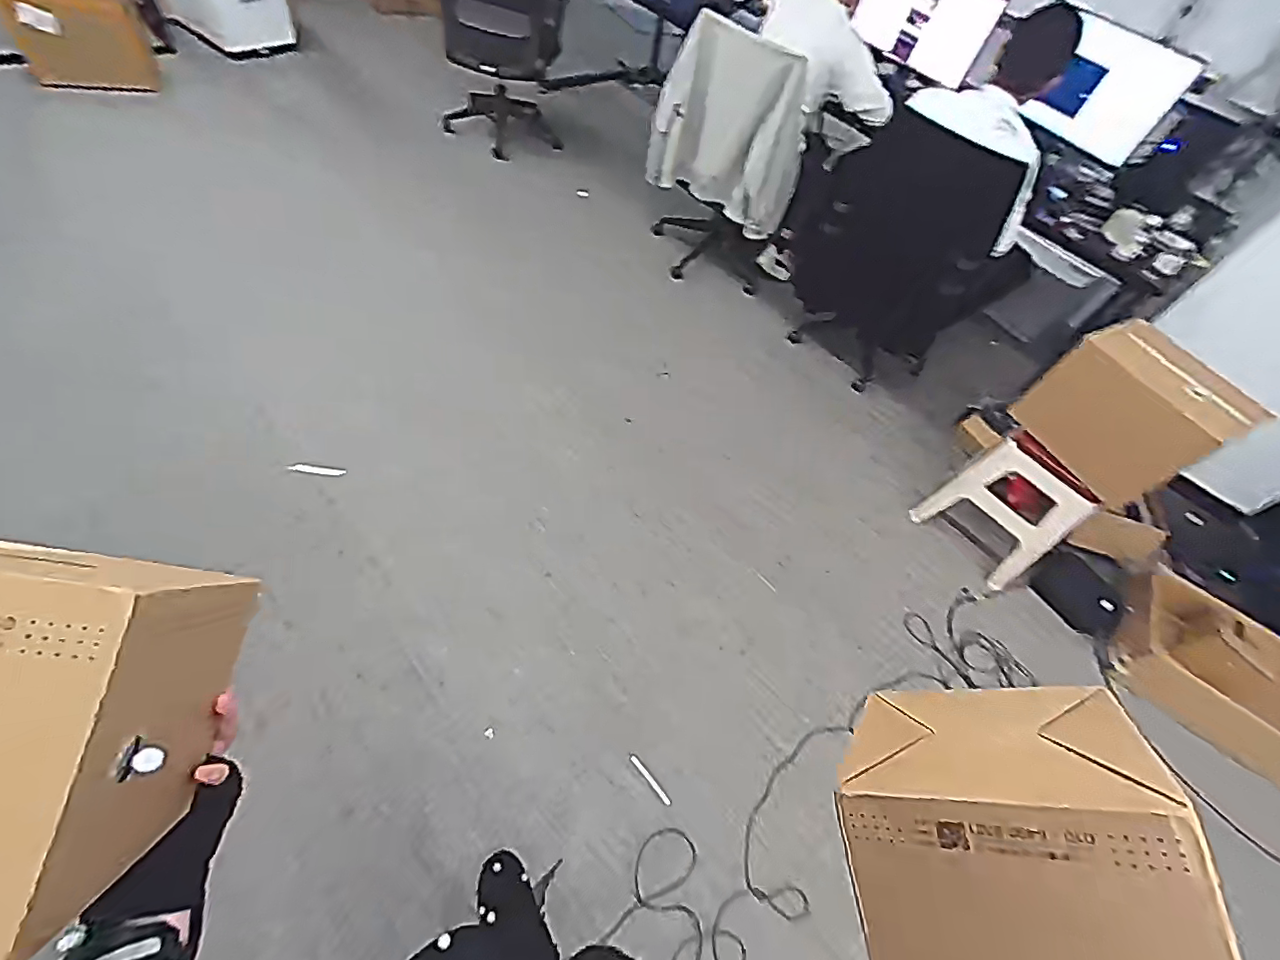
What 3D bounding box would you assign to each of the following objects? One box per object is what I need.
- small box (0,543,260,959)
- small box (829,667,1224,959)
[{"bbox_3d":[-0.355,0.127,0.303,0.168,0.179,0.176,14,78,-15],"label":"small box"},{"bbox_3d":[0.238,0.233,0.353,0.179,0.168,0.176,-3,78,-60],"label":"small box"}]
